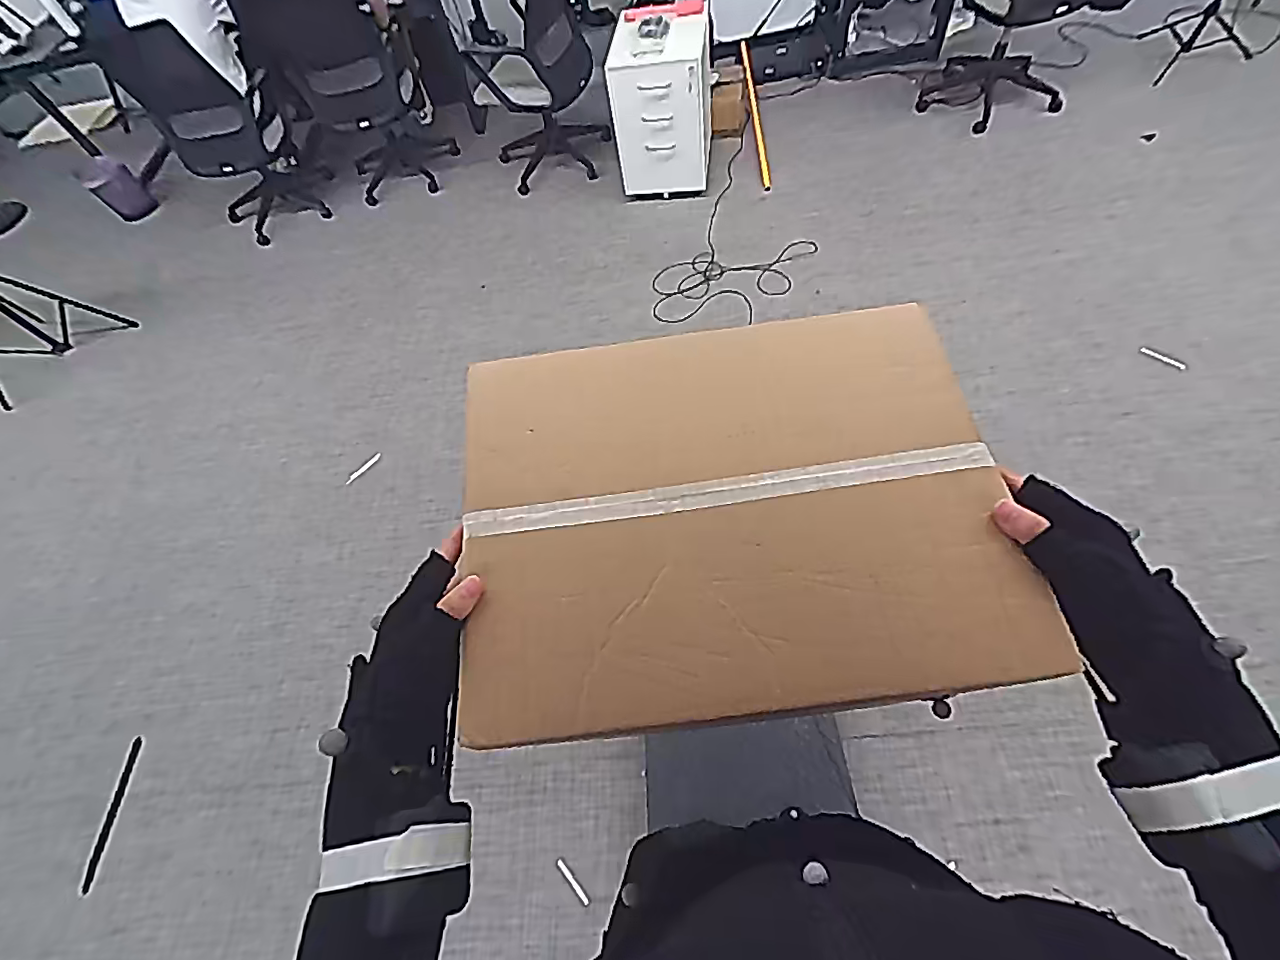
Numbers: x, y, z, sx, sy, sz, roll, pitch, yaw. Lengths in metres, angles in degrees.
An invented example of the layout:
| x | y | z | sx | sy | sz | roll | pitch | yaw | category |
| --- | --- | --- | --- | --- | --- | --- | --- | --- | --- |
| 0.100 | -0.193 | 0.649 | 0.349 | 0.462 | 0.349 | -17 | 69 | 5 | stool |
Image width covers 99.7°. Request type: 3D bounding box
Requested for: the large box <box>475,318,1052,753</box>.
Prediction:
| x | y | z | sx | sy | sz | roll | pitch | yaw | category |
| --- | --- | --- | --- | --- | --- | --- | --- | --- | --- |
| 0.079 | 0.080 | 0.562 | 0.408 | 0.320 | 0.320 | -8 | 64 | 2 | large box |
